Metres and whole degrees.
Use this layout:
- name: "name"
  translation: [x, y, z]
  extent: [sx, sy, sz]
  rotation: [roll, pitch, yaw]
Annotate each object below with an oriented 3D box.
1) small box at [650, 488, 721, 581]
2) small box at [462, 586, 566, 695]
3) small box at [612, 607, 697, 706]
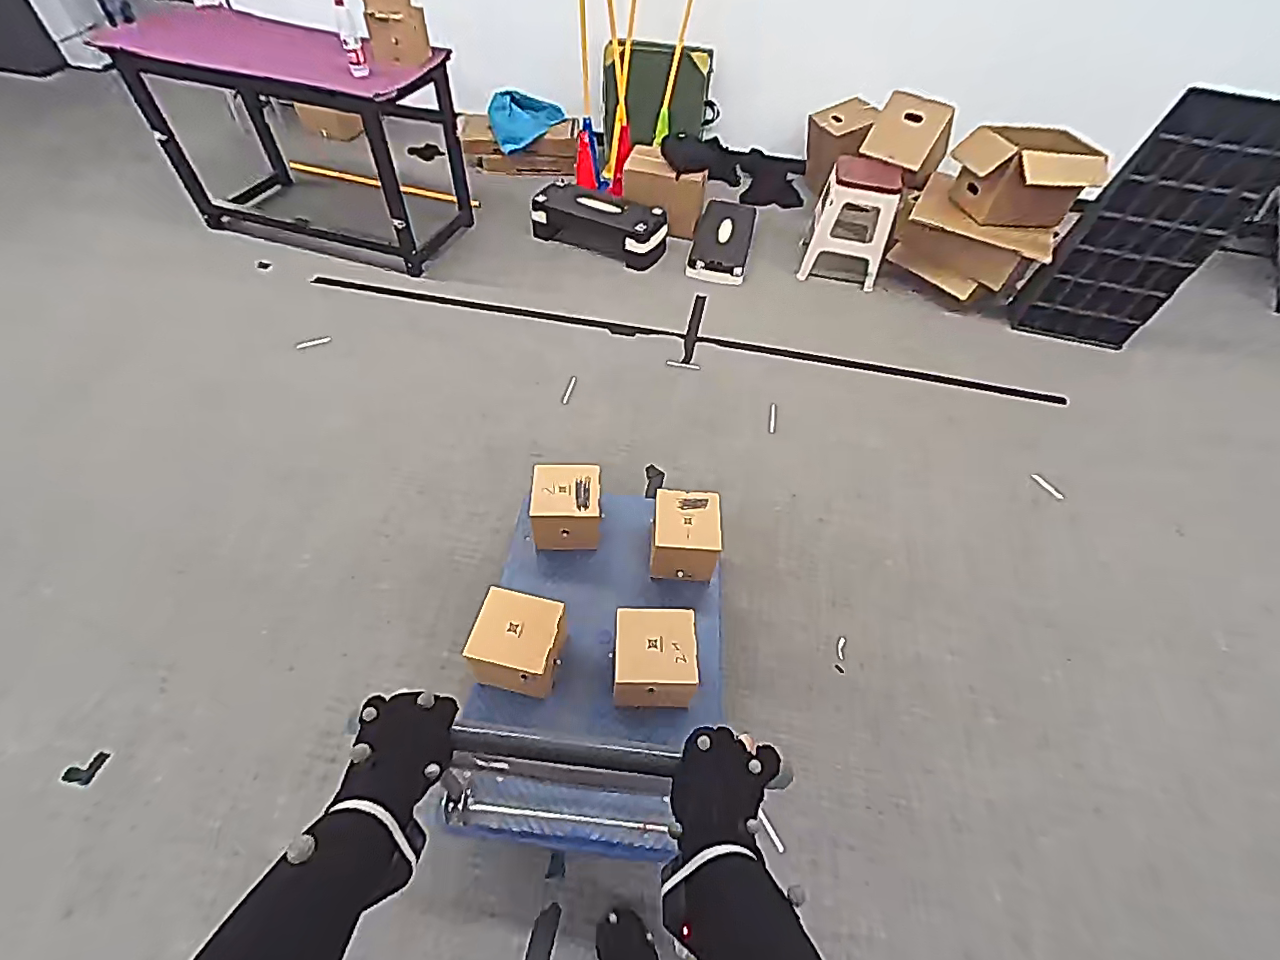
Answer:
- name: "small box"
  translation: [0.116, 0.146, 1.421]
  extent: [0.168, 0.176, 0.179]
  rotation: [4, 53, -1]
- name: "small box"
  translation: [-0.274, 0.365, 1.220]
  extent: [0.179, 0.176, 0.168]
  rotation: [13, 51, 3]
- name: "small box"
  translation: [0.028, 0.400, 1.216]
  extent: [0.179, 0.176, 0.168]
  rotation: [2, 52, -2]
